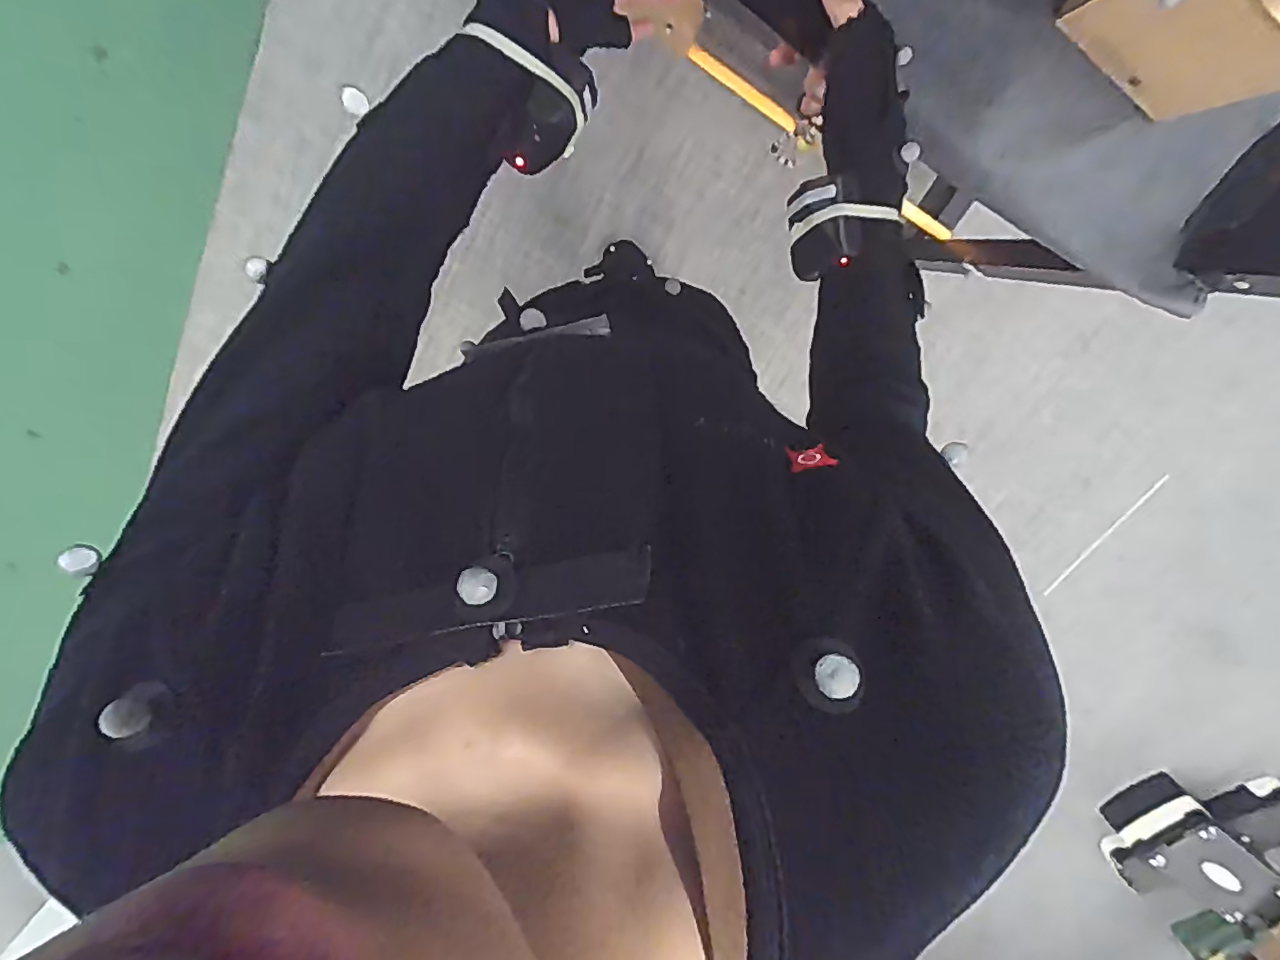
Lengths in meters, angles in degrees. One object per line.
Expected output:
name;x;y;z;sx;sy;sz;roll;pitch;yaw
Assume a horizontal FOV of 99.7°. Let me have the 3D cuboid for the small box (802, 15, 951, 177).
small box;0.432;-0.708;1.027;0.168;0.176;0.179;31;110;-13
